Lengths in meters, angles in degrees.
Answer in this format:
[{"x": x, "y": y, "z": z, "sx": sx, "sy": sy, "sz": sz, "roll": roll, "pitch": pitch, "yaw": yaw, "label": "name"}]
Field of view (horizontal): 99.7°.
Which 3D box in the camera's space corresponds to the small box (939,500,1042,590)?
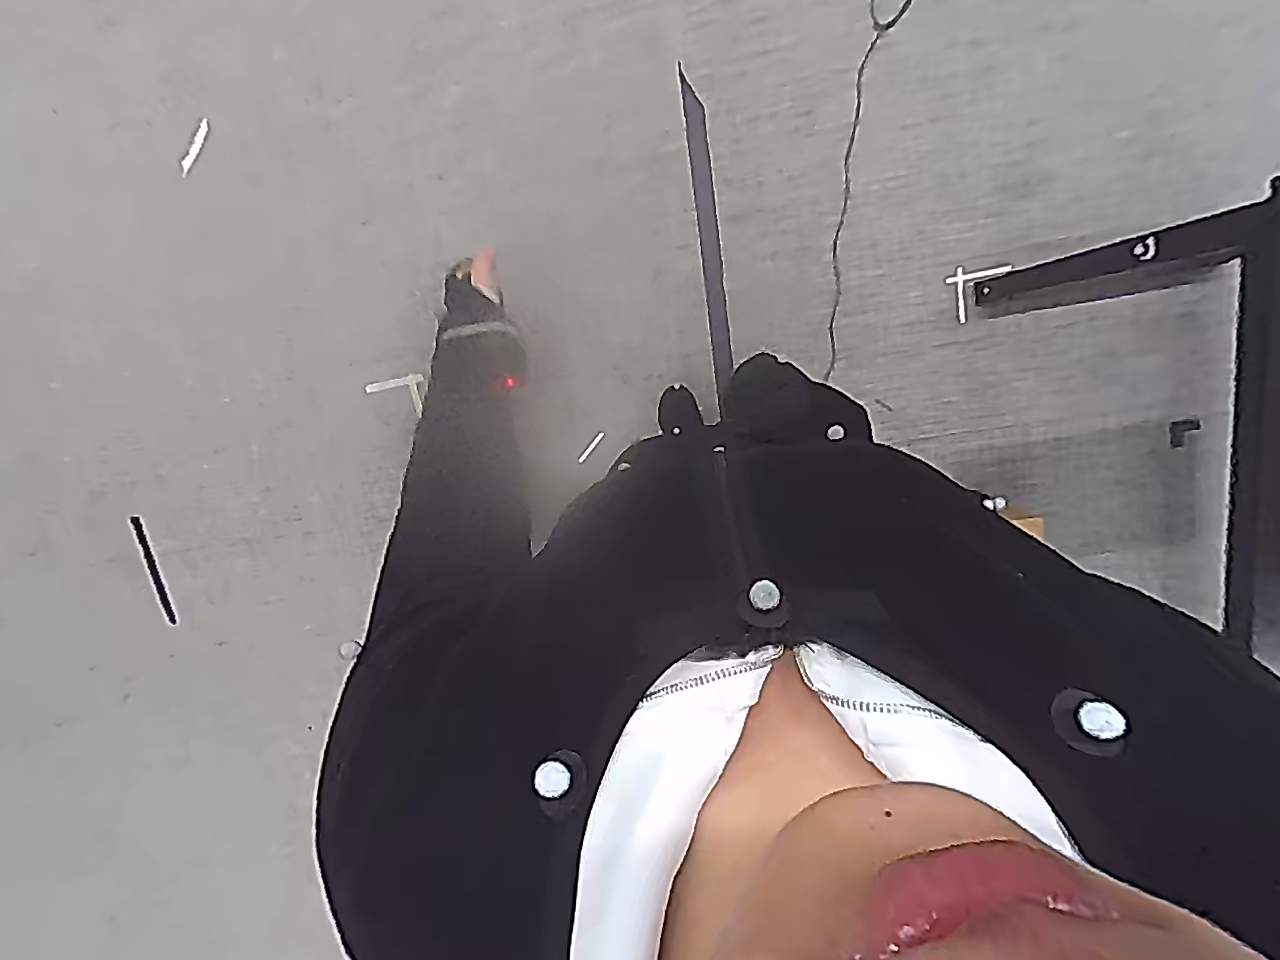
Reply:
[{"x": 0.893, "y": 0.162, "z": 1.387, "sx": 0.168, "sy": 0.176, "sz": 0.179, "roll": -9, "pitch": 100, "yaw": 6, "label": "small box"}]
